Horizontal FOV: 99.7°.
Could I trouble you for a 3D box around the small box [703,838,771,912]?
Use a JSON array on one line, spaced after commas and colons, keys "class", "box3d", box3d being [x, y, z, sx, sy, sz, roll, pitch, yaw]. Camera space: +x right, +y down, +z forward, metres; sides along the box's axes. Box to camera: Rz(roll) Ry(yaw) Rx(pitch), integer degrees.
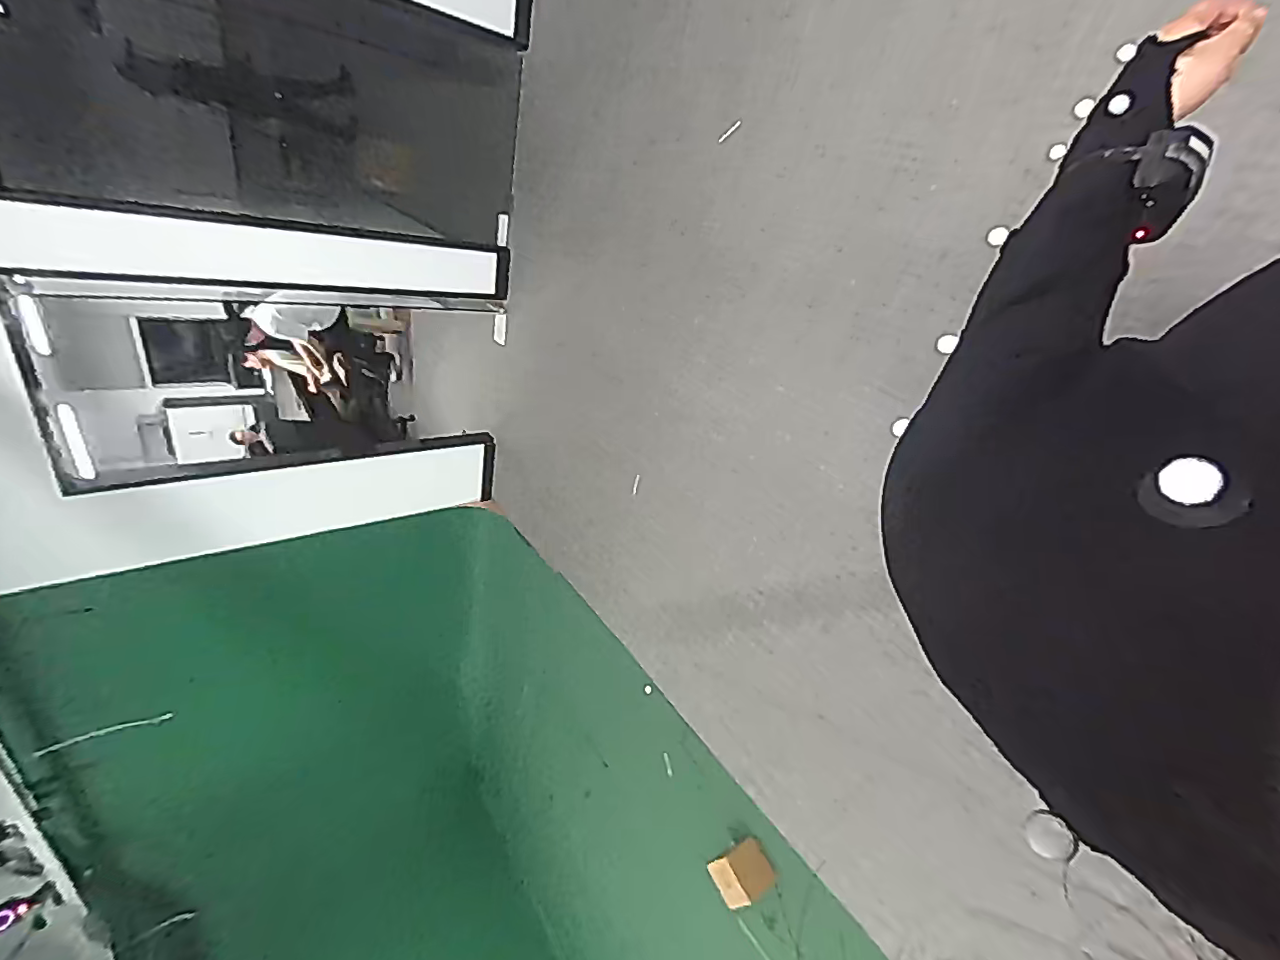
[{"class": "small box", "box3d": [0.400, 1.612, 2.208, 0.179, 0.176, 0.168, 57, 136, 27]}]
